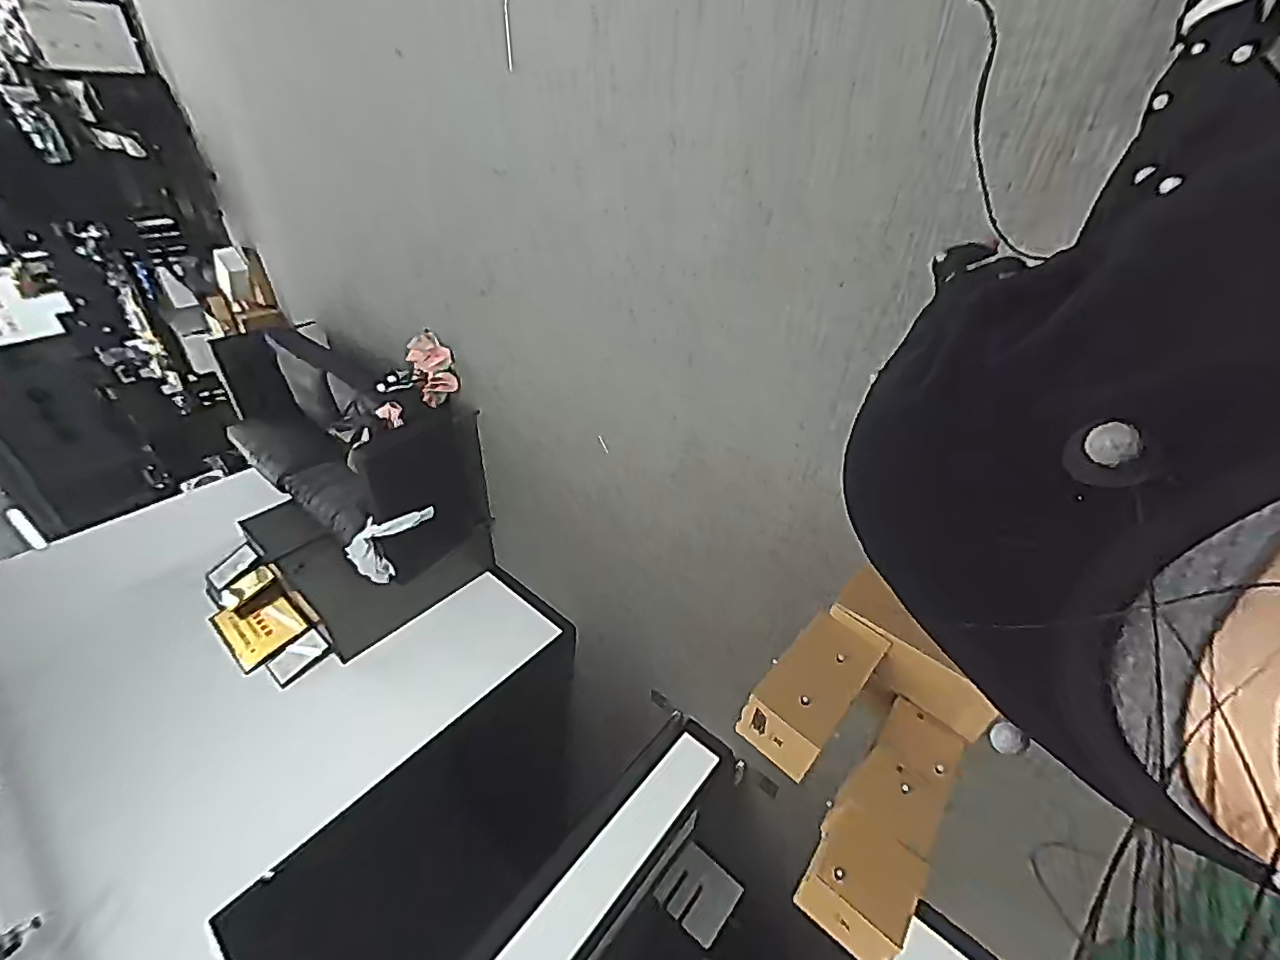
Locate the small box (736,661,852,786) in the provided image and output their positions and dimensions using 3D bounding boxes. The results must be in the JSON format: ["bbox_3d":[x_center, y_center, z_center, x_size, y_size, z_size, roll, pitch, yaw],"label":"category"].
[{"bbox_3d":[0.354,0.549,1.248,0.179,0.176,0.168,33,134,28],"label":"small box"}]

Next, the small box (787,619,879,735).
[{"bbox_3d":[0.466,0.484,1.349,0.179,0.176,0.168,32,132,28],"label":"small box"}]

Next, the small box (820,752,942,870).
[{"bbox_3d":[0.534,0.750,1.195,0.168,0.176,0.179,34,134,25],"label":"small box"}]

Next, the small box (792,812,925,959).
[{"bbox_3d":[0.438,0.821,1.083,0.179,0.176,0.168,30,133,29],"label":"small box"}]
